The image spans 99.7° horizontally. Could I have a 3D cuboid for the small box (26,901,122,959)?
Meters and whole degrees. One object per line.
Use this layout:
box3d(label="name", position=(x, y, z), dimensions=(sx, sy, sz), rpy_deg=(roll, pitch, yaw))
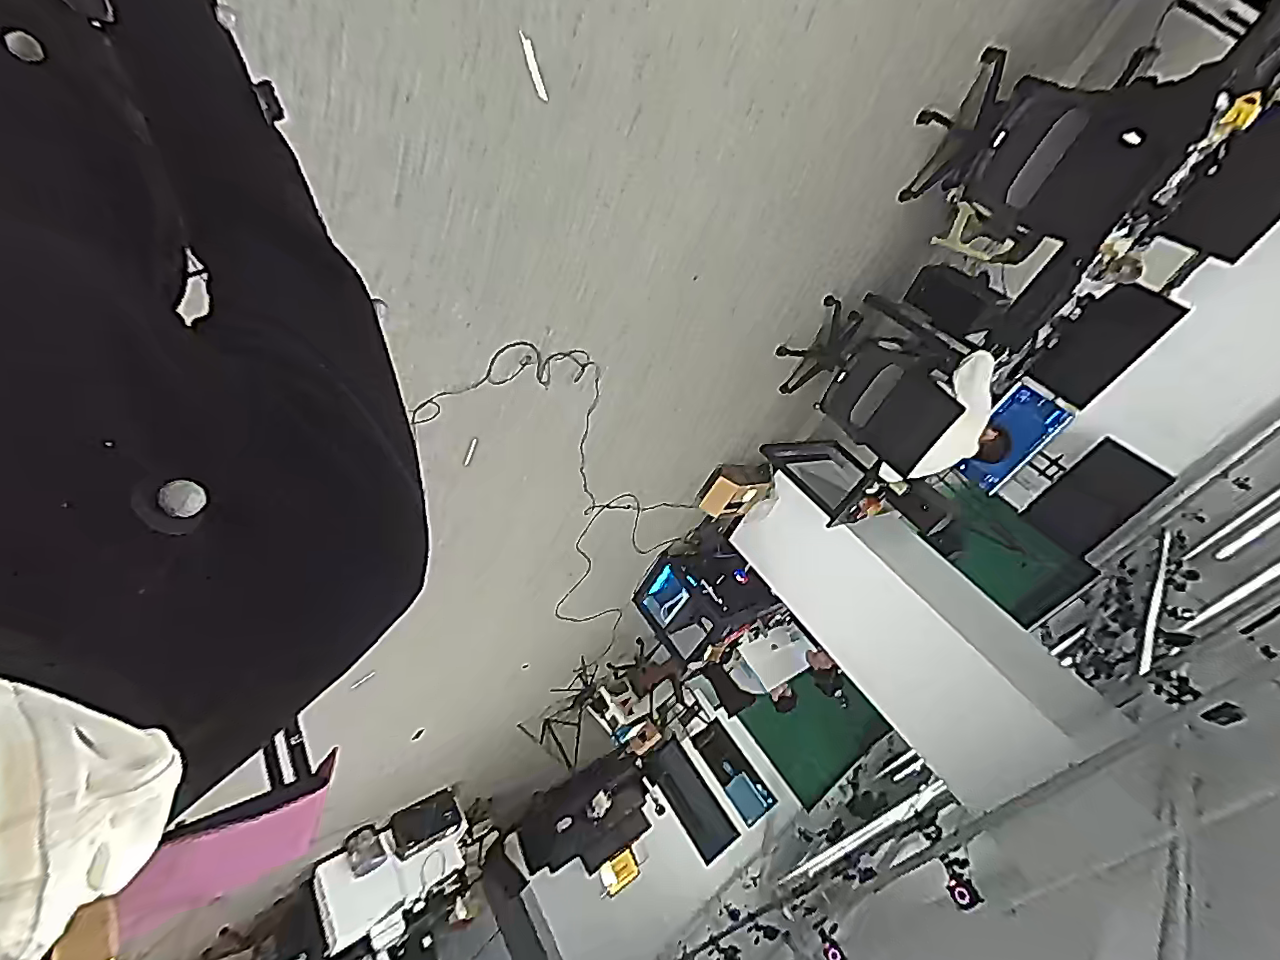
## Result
box3d(label="small box", position=(-1.580, 1.336, 1.512), dimensions=(0.179, 0.176, 0.168), rpy_deg=(-7, 139, -42))
